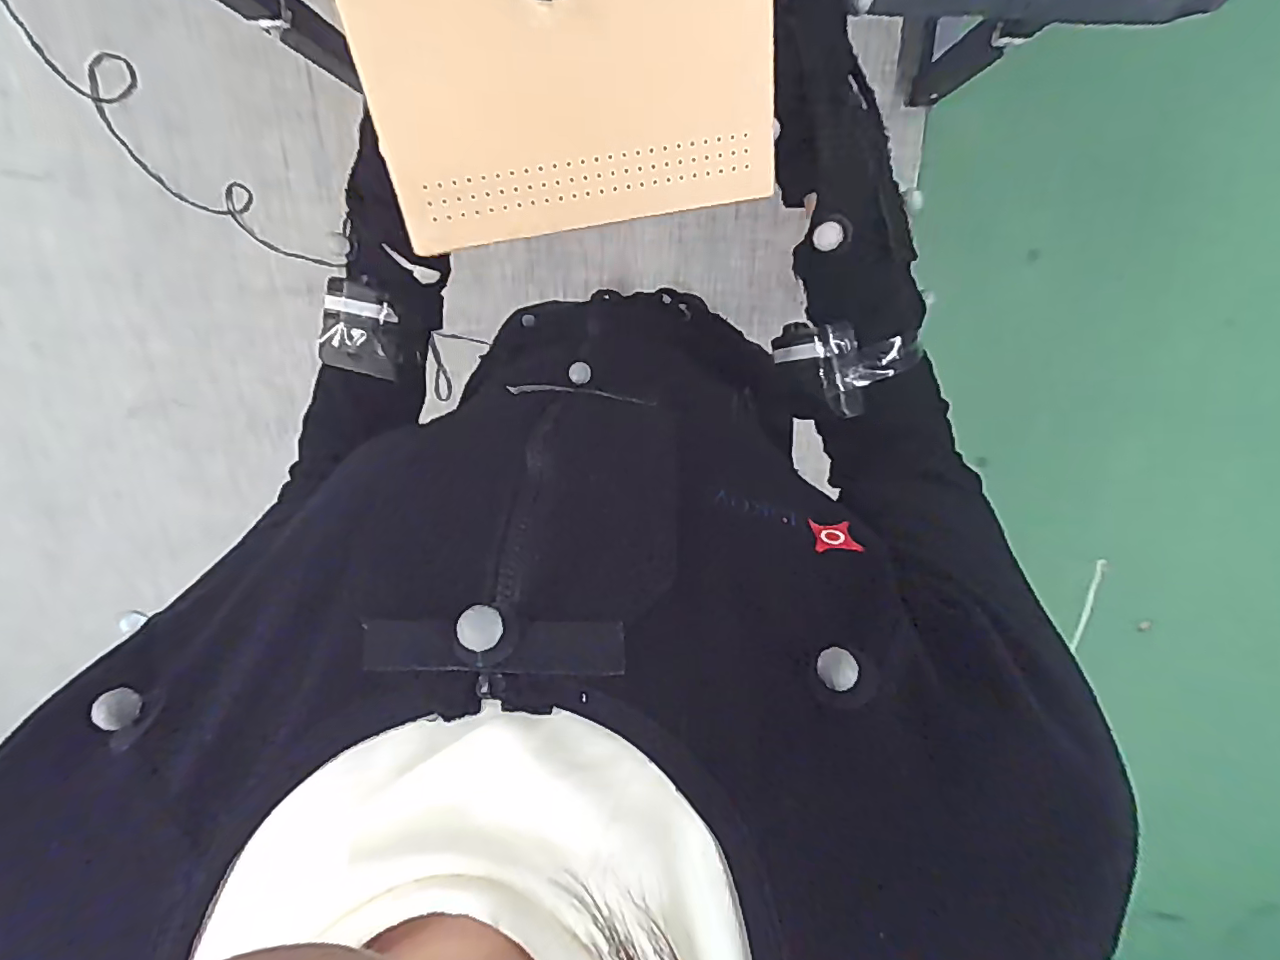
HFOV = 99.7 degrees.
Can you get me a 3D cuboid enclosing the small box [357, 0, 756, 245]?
[{"bbox_3d":[-0.042,-0.240,0.297,0.179,0.168,0.176,-13,119,-5],"label":"small box"}]
